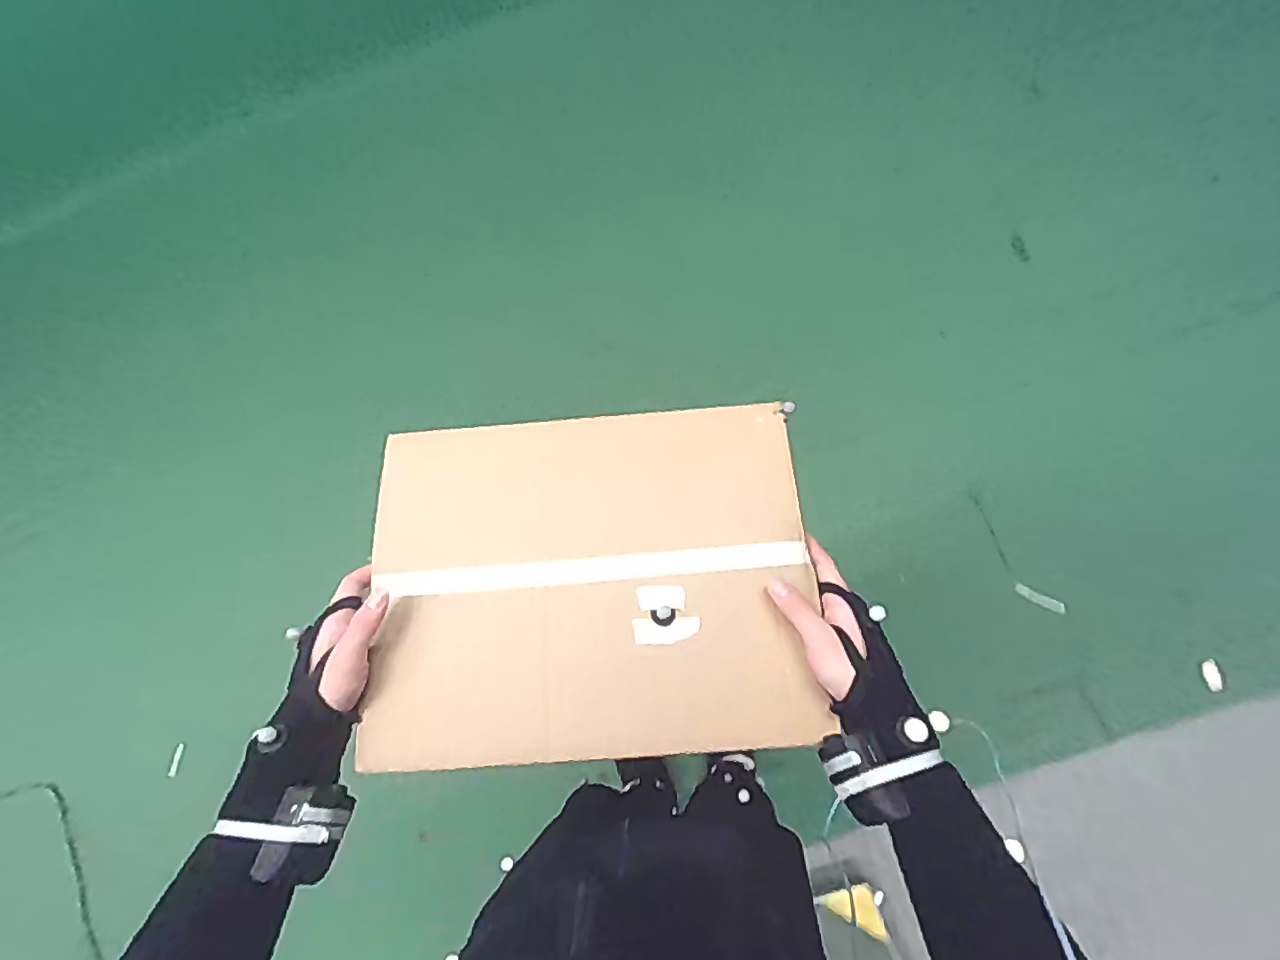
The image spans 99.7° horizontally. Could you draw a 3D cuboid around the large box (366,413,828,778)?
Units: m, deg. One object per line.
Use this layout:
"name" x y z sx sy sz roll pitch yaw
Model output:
"large box" -0.045 0.145 0.649 0.408 0.320 0.320 -5 69 0
